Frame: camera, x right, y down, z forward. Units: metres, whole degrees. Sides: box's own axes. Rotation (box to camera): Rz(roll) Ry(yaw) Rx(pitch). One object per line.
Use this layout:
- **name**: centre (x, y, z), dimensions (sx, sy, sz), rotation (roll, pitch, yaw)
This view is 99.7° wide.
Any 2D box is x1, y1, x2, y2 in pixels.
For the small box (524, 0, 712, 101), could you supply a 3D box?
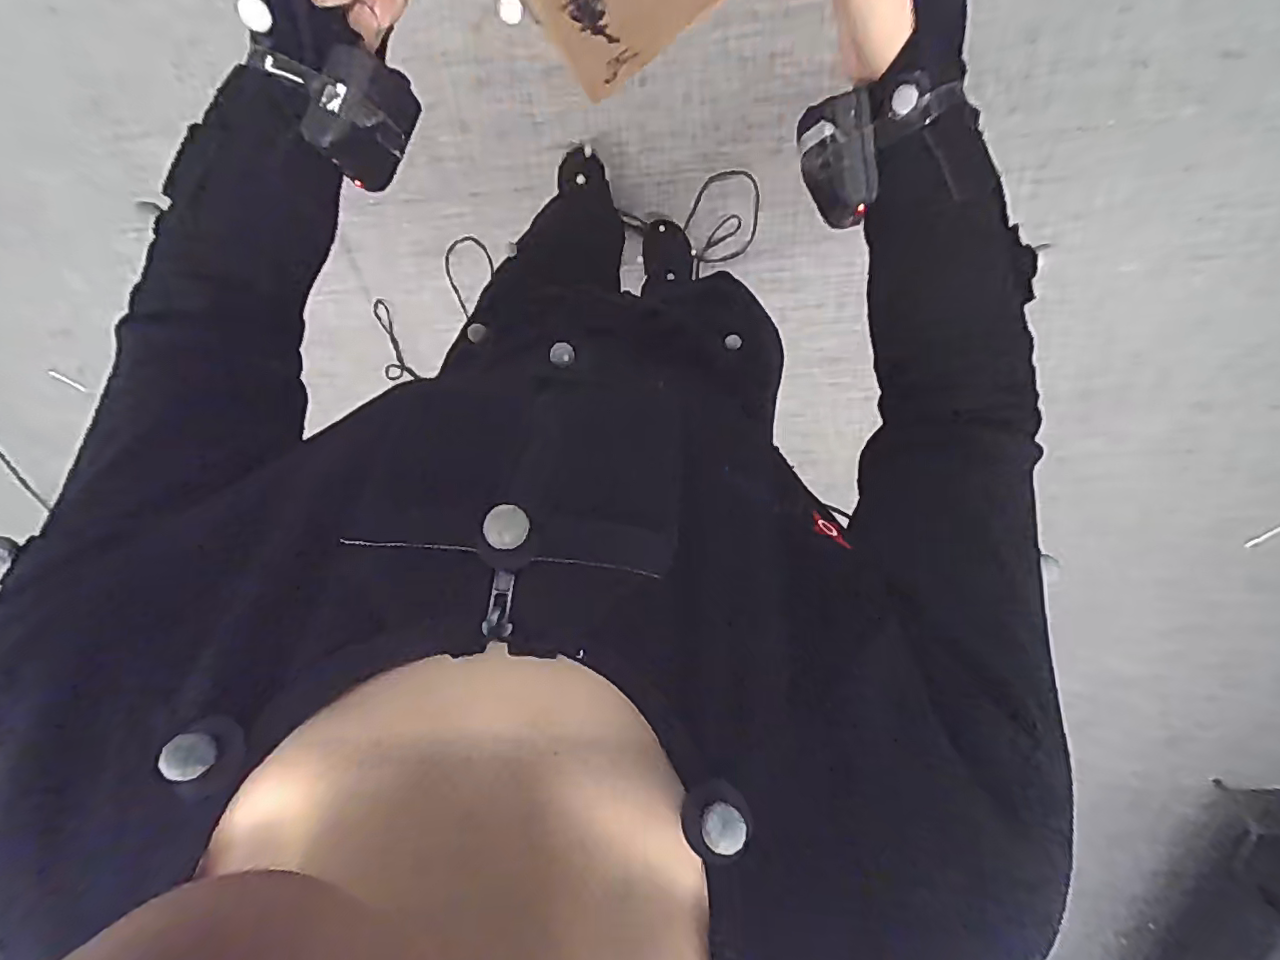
- **small box**: centre (-0.015, -0.332, 0.239), dimensions (0.179, 0.168, 0.176), rotation (-35, 101, 14)
